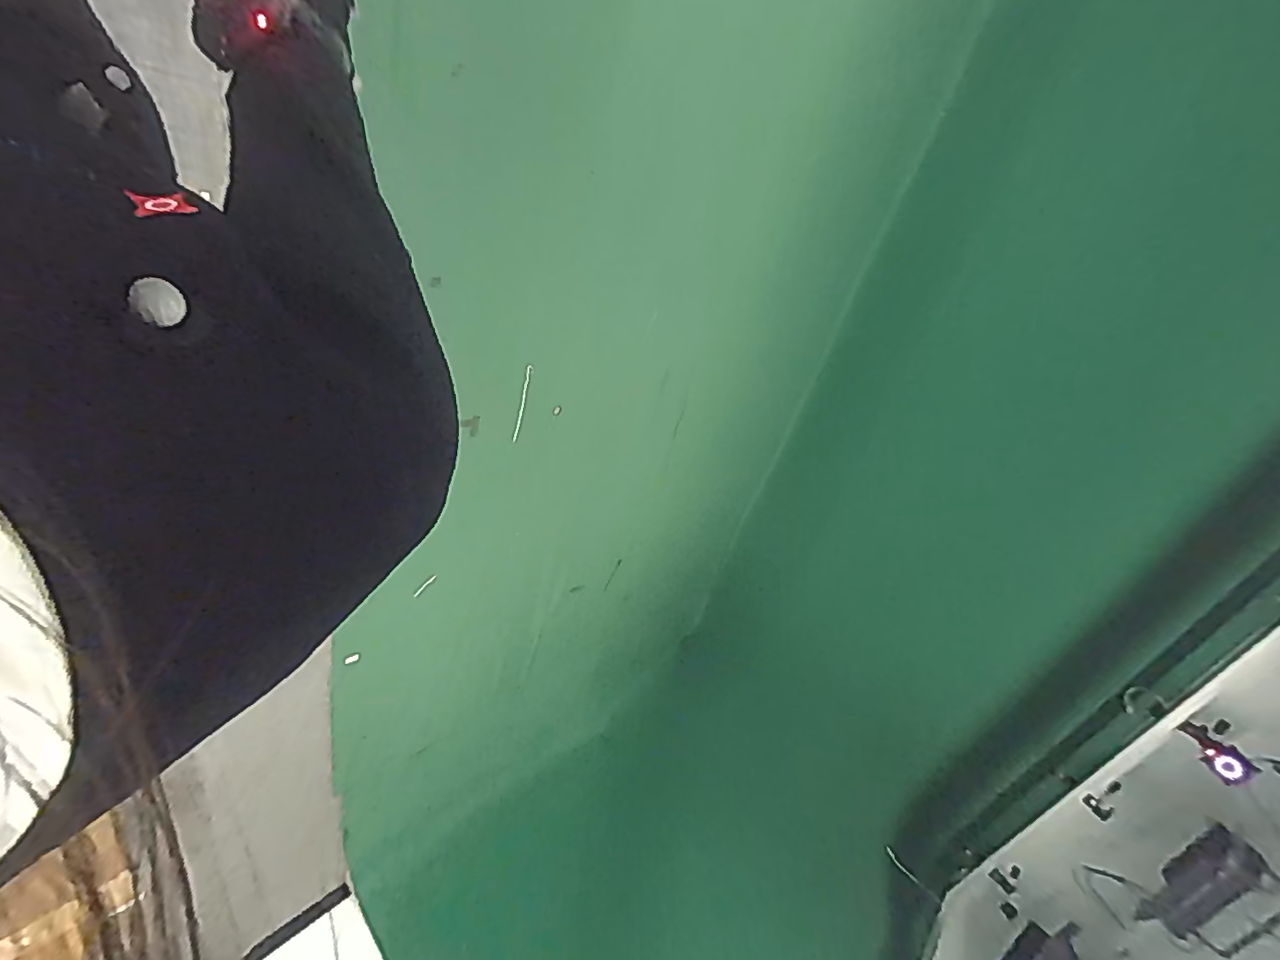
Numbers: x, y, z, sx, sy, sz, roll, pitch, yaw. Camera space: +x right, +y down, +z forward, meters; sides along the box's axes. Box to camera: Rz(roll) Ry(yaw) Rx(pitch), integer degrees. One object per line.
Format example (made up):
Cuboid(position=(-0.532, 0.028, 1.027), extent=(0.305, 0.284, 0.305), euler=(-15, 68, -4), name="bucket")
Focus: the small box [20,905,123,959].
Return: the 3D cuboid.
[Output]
Cuboid(position=(-1.473, 1.277, 1.404), extent=(0.179, 0.176, 0.168), euler=(-11, 127, -49), name="small box")
